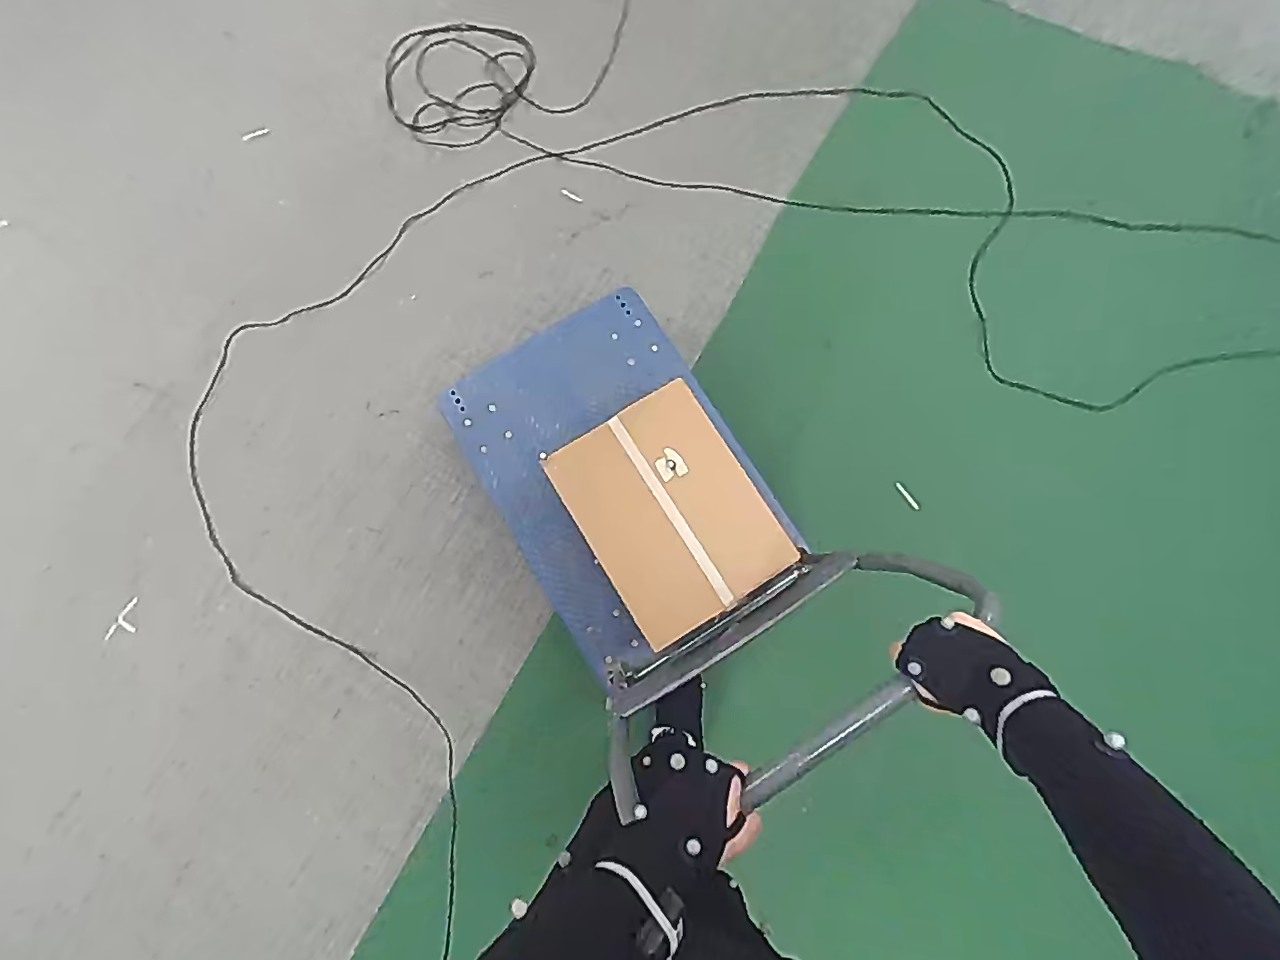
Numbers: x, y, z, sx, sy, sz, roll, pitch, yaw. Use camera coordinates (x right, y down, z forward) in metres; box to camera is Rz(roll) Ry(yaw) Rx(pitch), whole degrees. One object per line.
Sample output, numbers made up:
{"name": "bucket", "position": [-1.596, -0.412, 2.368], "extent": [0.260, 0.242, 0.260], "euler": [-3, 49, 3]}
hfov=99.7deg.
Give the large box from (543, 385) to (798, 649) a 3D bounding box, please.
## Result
{"name": "large box", "position": [0.056, 0.086, 1.135], "extent": [0.320, 0.320, 0.408], "euler": [-32, 80, -6]}
